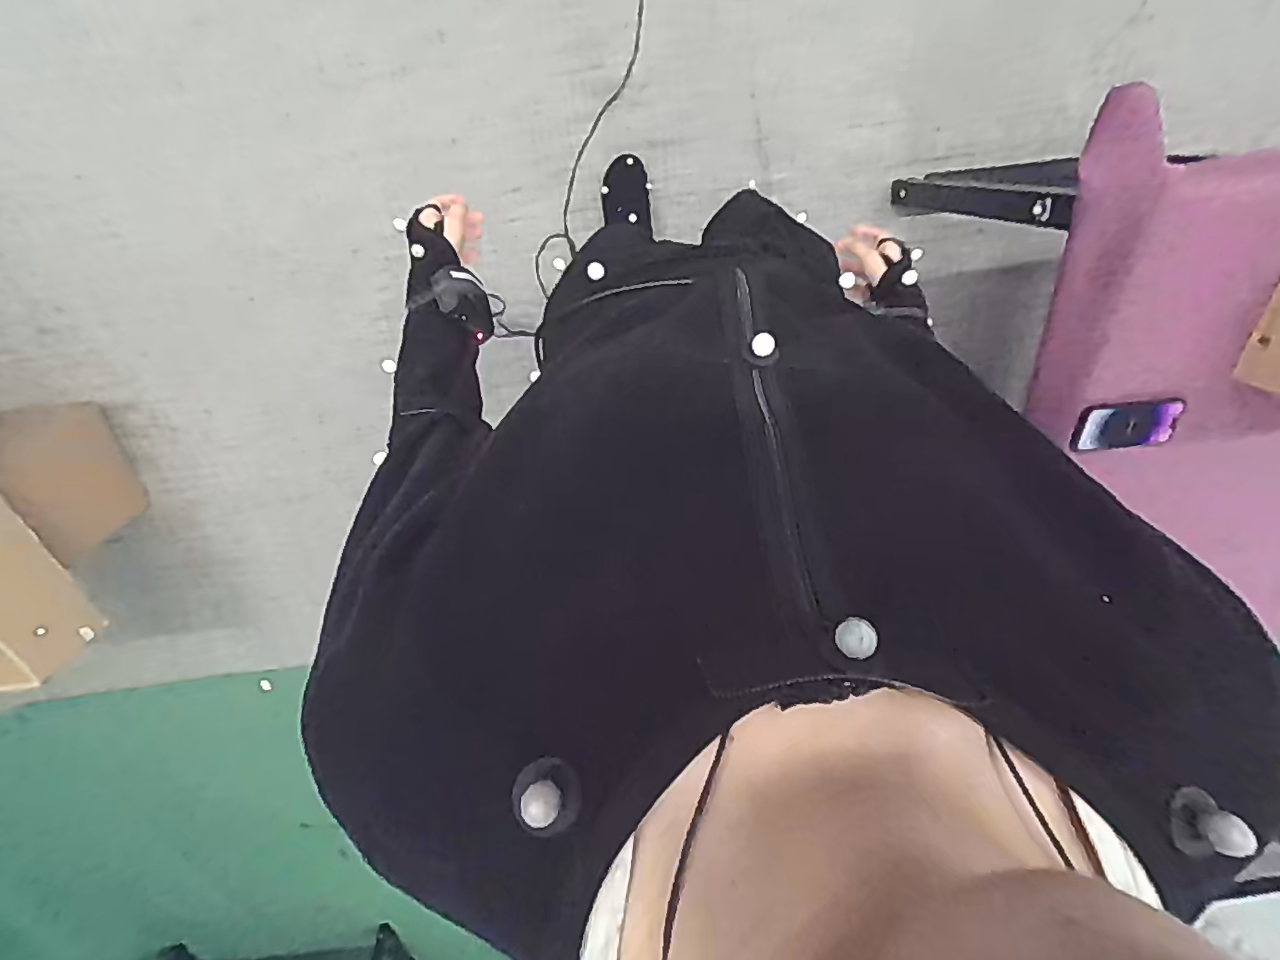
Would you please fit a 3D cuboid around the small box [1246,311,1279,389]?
[{"bbox_3d":[0.939,-0.181,0.665,0.179,0.176,0.168,-5,121,0],"label":"small box"}]
